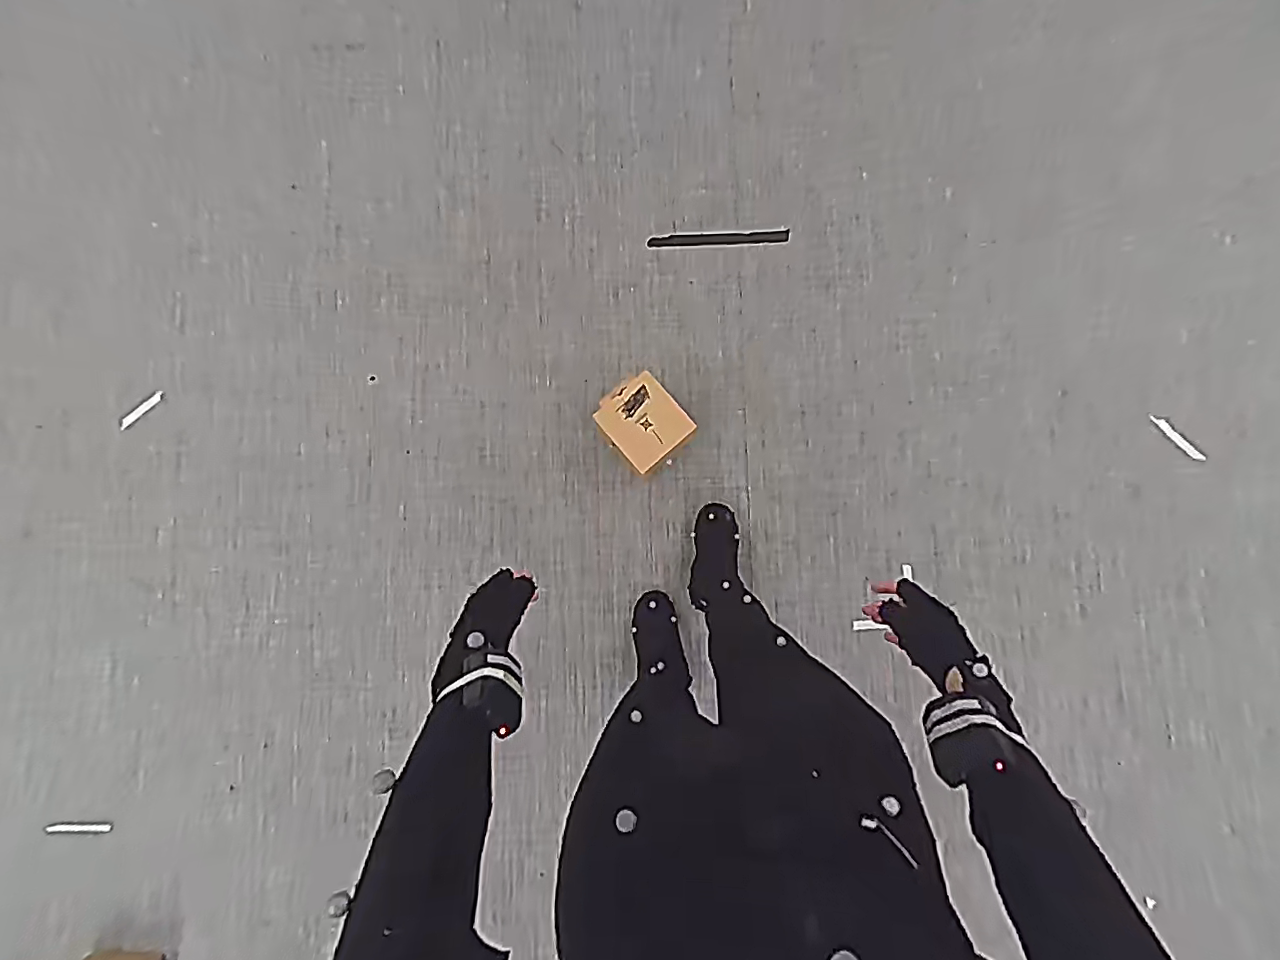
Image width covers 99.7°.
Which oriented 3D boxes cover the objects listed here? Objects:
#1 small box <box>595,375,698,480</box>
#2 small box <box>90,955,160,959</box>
[{"bbox_3d":[0.014,-0.115,1.281,0.168,0.176,0.179,-40,87,-2],"label":"small box"},{"bbox_3d":[-1.203,1.180,1.174,0.179,0.176,0.168,-1,86,-1],"label":"small box"}]
